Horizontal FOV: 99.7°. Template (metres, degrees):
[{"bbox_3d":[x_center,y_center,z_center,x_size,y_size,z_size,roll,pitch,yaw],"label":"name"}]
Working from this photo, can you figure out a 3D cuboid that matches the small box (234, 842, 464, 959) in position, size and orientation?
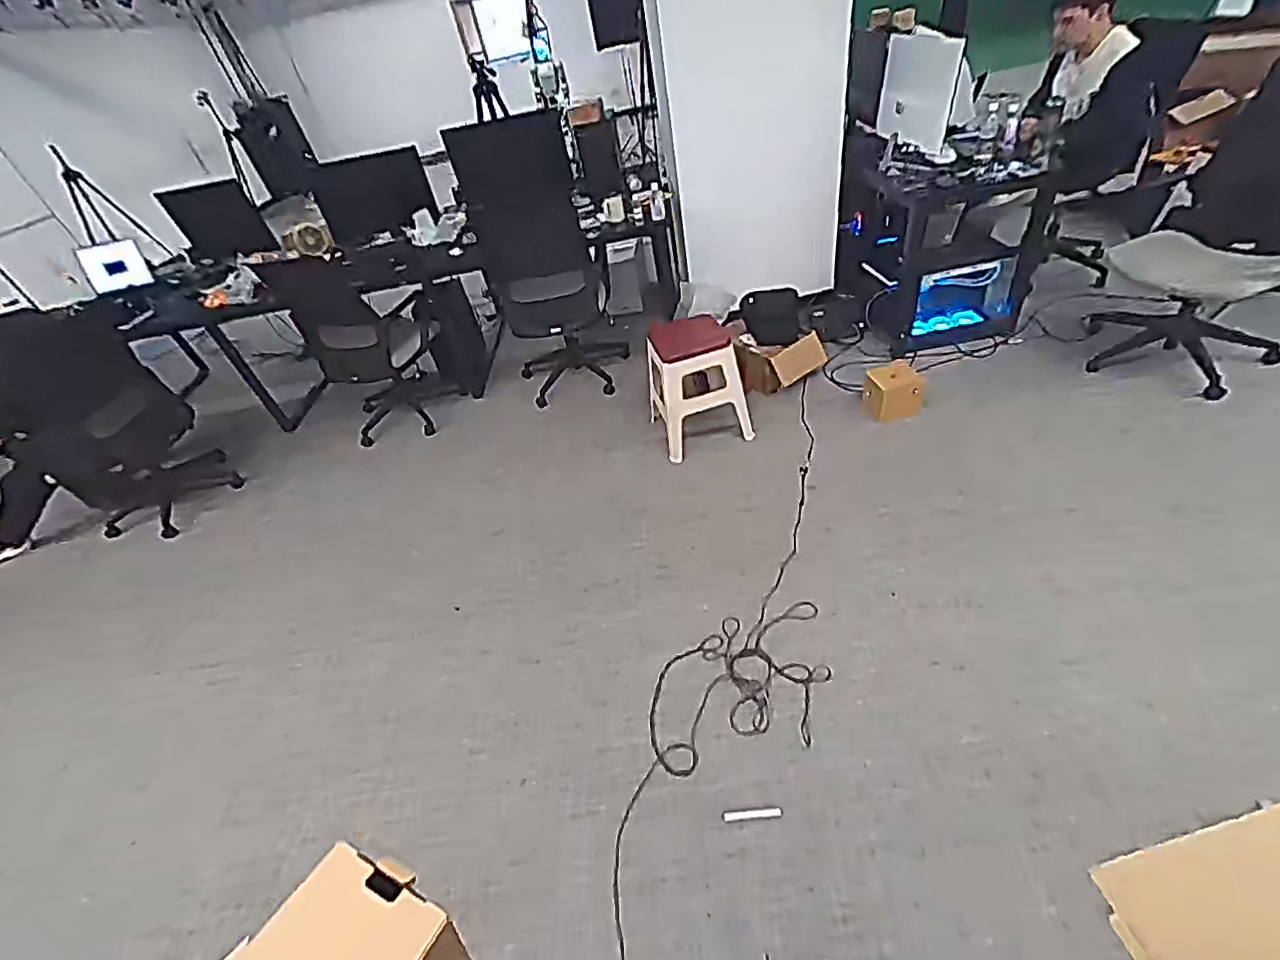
[{"bbox_3d":[-0.298,0.531,0.549,0.168,0.176,0.179,12,33,23],"label":"small box"}]
